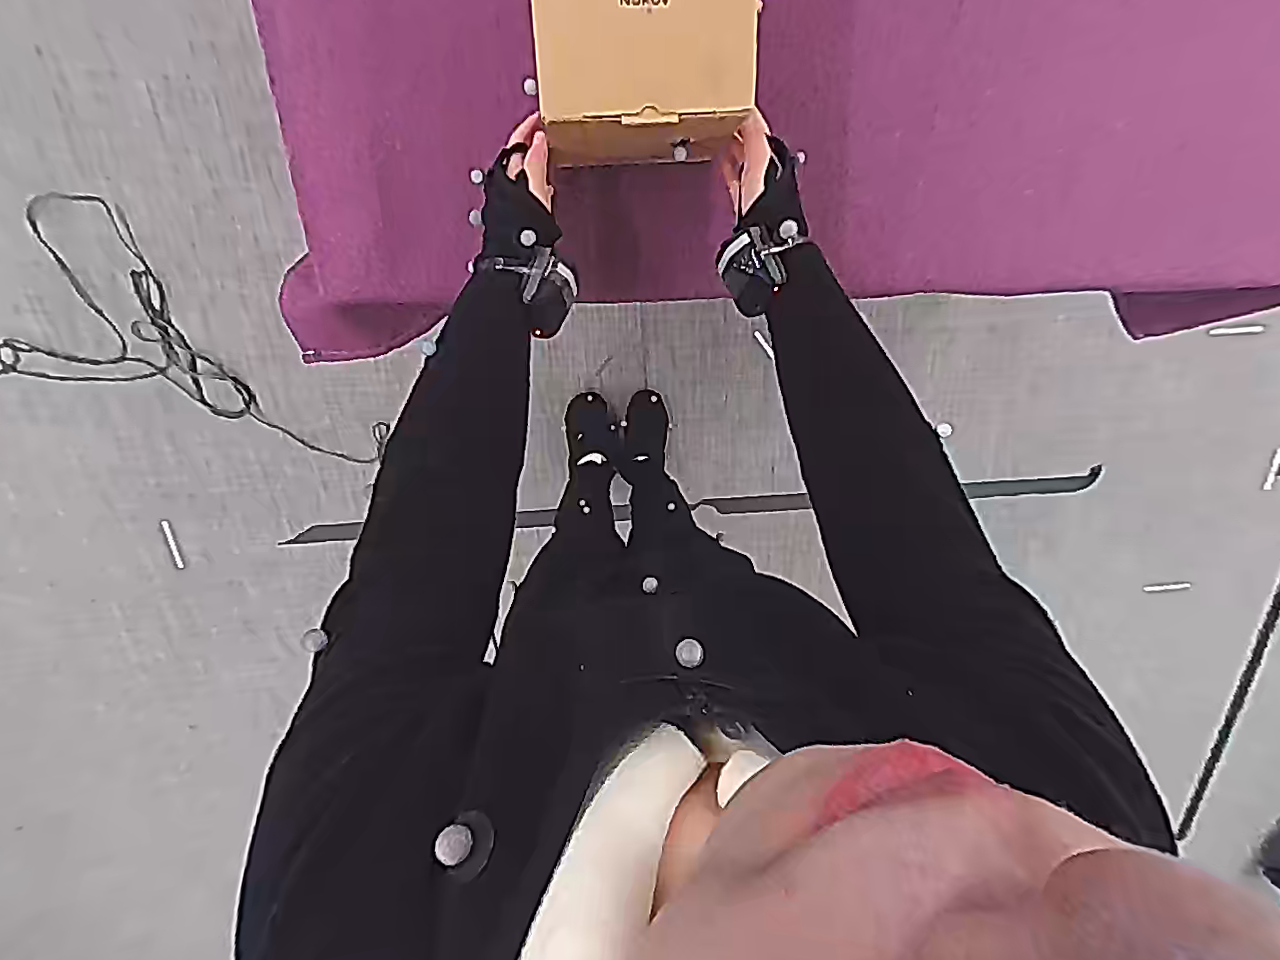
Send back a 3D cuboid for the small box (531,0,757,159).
[{"bbox_3d":[-0.002,-0.383,0.457,0.168,0.176,0.179,-4,110,-4],"label":"small box"}]
